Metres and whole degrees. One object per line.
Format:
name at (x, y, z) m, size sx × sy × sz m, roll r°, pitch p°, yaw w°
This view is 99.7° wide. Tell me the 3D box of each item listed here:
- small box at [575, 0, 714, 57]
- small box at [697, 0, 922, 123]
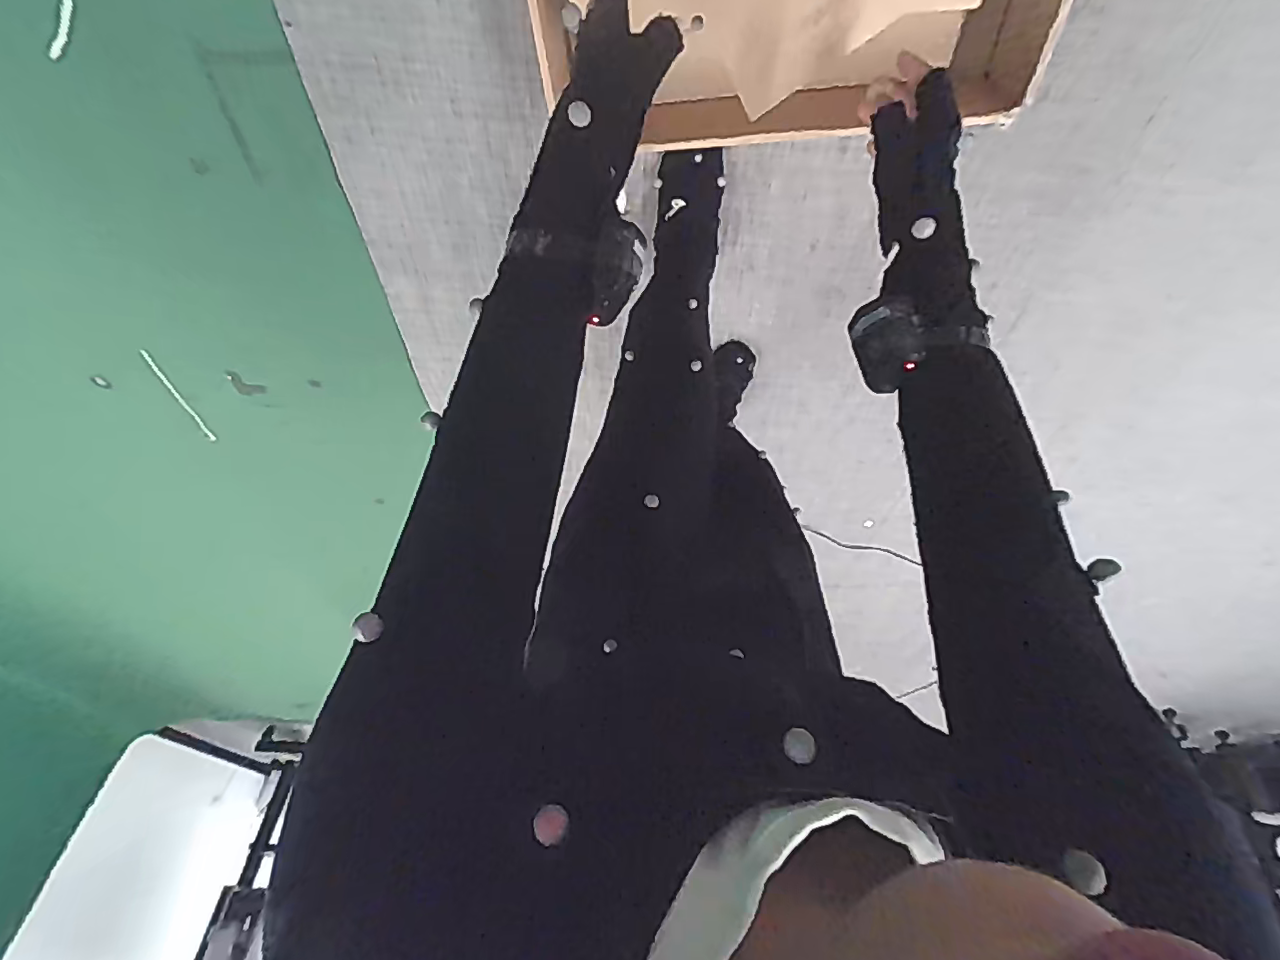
small box at (0.009, -0.621, 0.620) m, size 0.179 × 0.176 × 0.168 m, roll -4°, pitch 140°, yaw 7°
small box at (0.138, -0.496, 0.510) m, size 0.168 × 0.176 × 0.179 m, roll -22°, pitch 137°, yaw 29°
